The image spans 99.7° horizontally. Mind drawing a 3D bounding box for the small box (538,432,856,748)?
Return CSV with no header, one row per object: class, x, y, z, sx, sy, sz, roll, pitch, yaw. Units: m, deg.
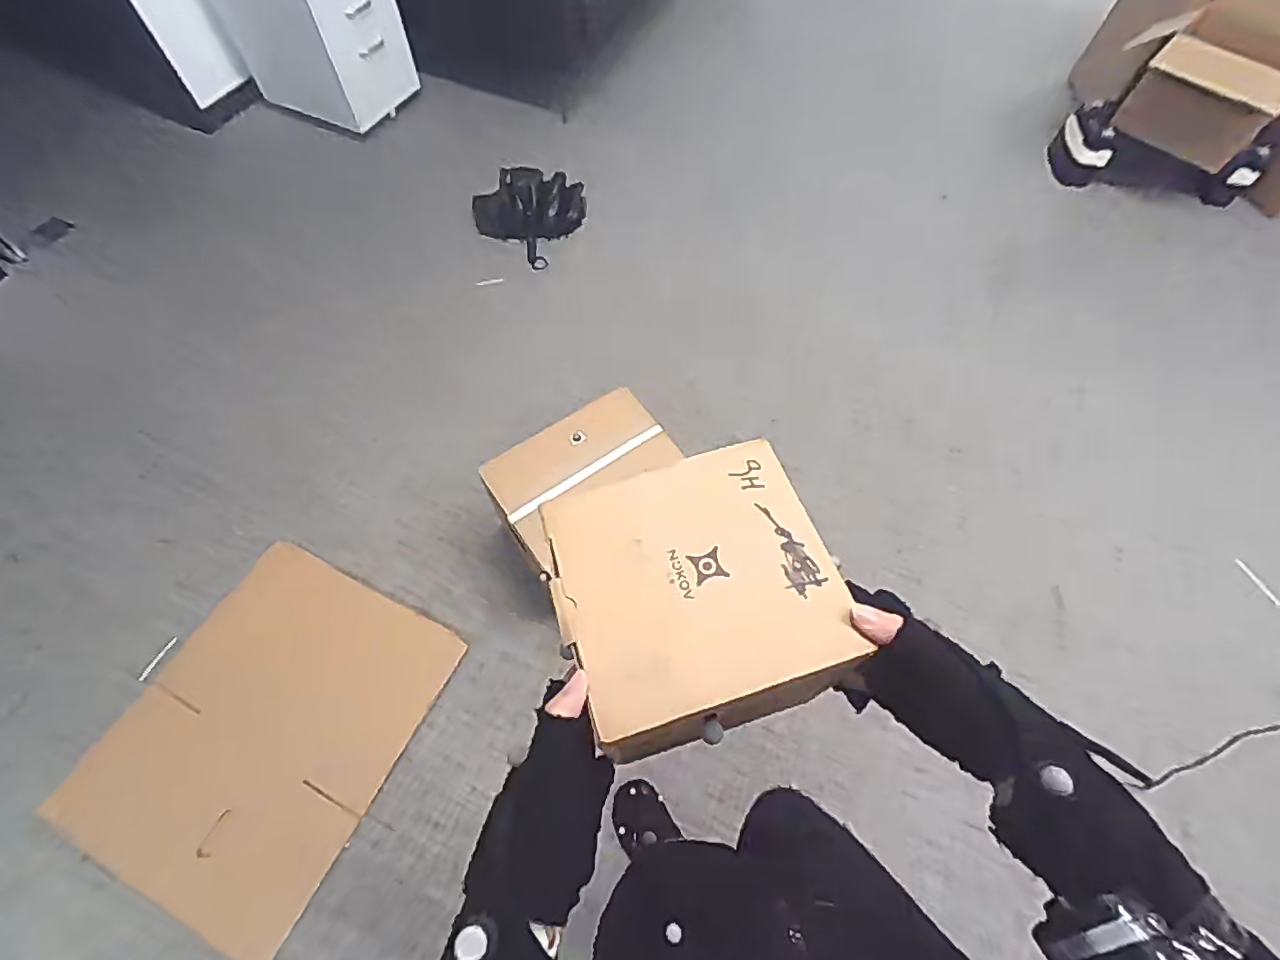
small box,0.036,0.095,0.436,0.179,0.176,0.168,-18,57,-9
